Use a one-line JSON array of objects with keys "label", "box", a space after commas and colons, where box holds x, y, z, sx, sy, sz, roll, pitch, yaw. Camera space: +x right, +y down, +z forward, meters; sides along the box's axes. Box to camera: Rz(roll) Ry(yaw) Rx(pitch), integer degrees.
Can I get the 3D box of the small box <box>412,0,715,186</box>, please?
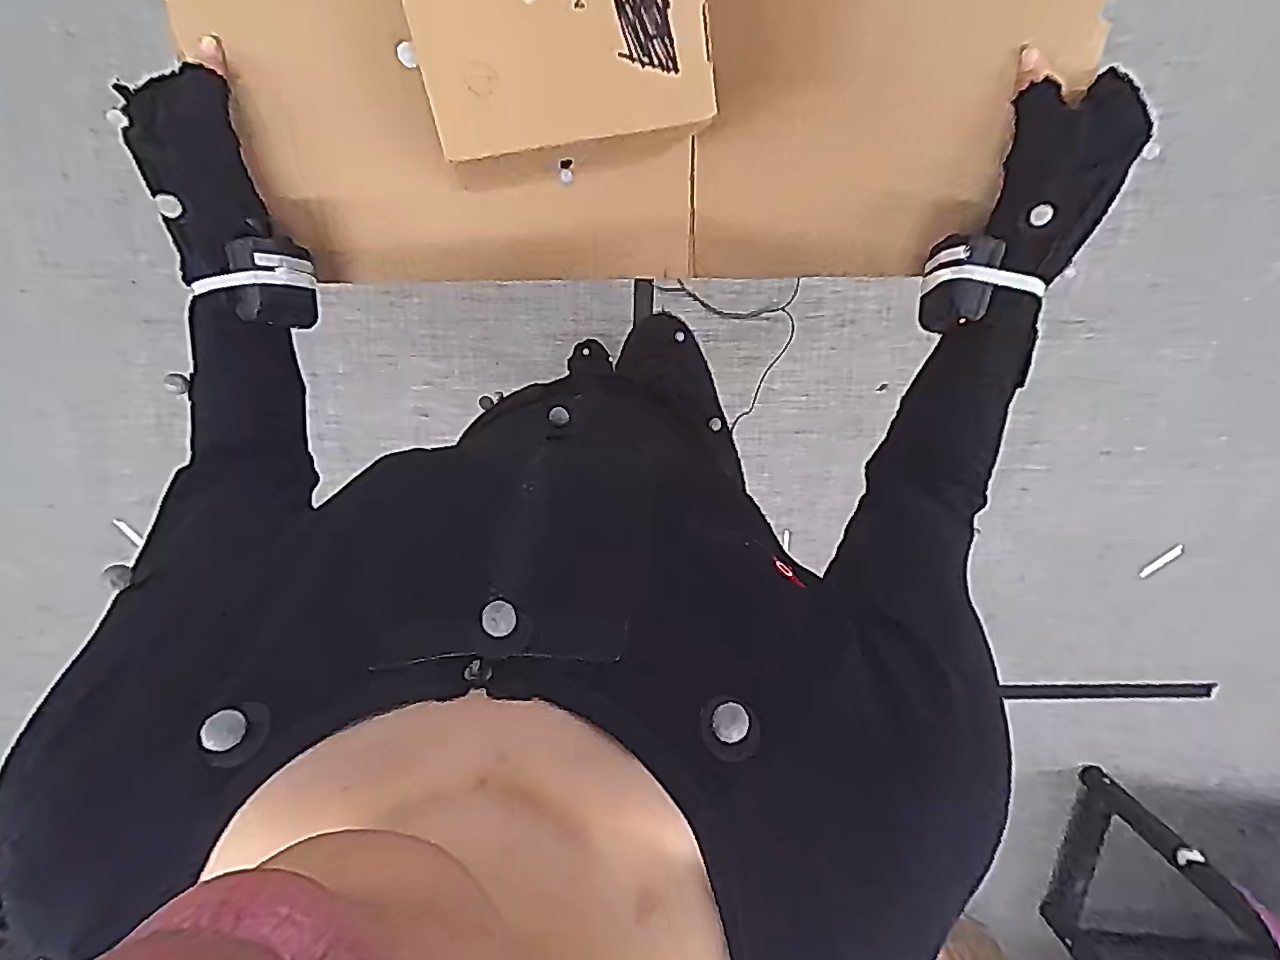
[{"label": "small box", "box": [-0.063, -0.322, 0.386, 0.179, 0.176, 0.168, -14, 113, -8]}]
